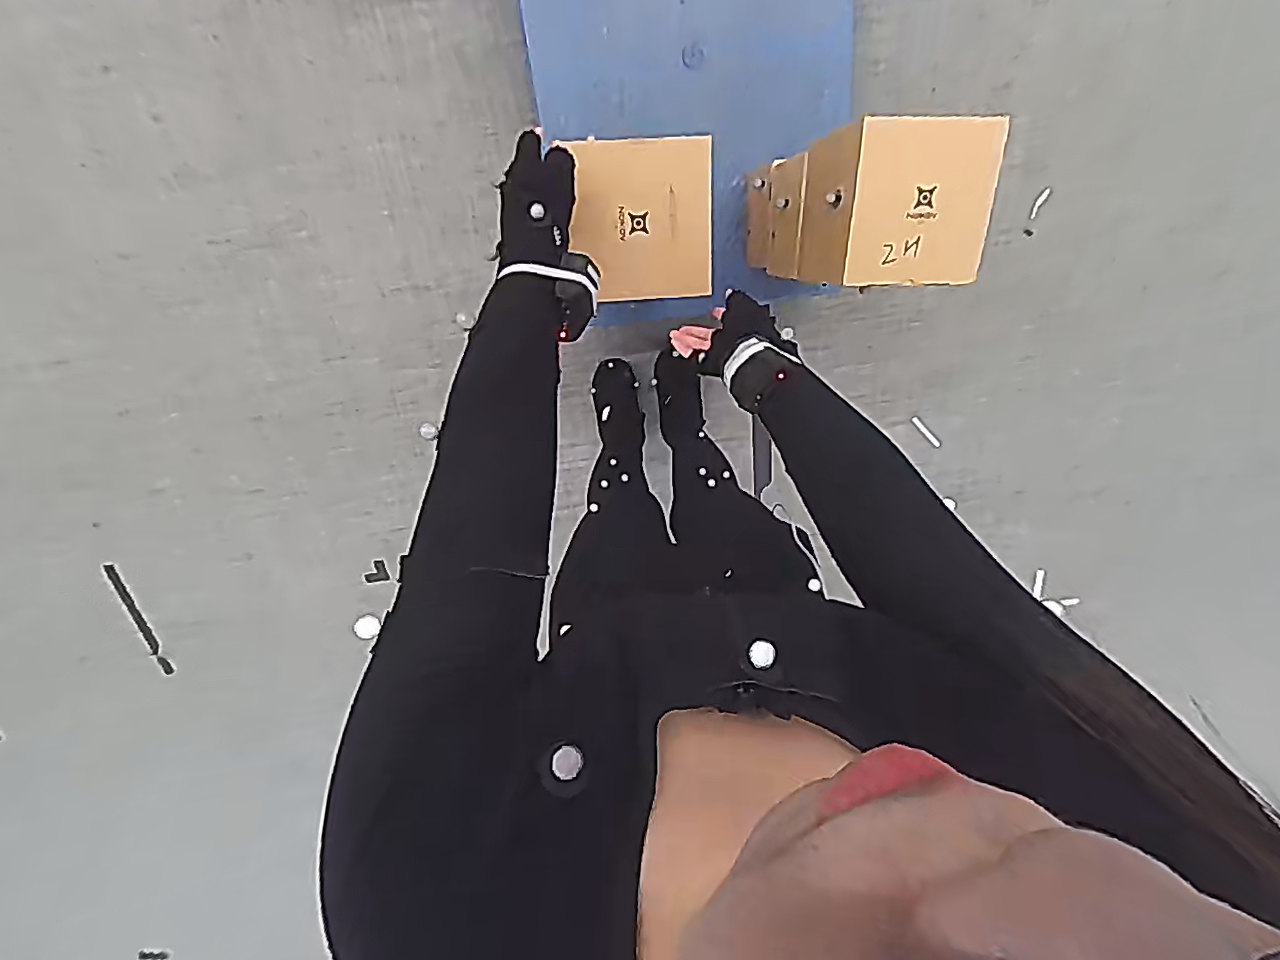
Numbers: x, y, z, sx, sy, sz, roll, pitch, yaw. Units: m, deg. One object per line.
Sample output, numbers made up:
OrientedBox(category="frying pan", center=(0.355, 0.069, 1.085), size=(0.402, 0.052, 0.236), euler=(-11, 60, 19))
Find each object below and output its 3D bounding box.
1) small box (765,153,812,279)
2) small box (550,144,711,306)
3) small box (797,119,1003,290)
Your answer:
OrientedBox(category="small box", center=(0.303, -0.405, 0.845), size=(0.179, 0.176, 0.168), euler=(-3, 114, -3))
OrientedBox(category="small box", center=(-0.011, -0.317, 0.685), size=(0.179, 0.176, 0.168), euler=(-4, 115, -2))
OrientedBox(category="small box", center=(0.313, -0.341, 0.693), size=(0.168, 0.176, 0.179), euler=(-2, 114, -3))
